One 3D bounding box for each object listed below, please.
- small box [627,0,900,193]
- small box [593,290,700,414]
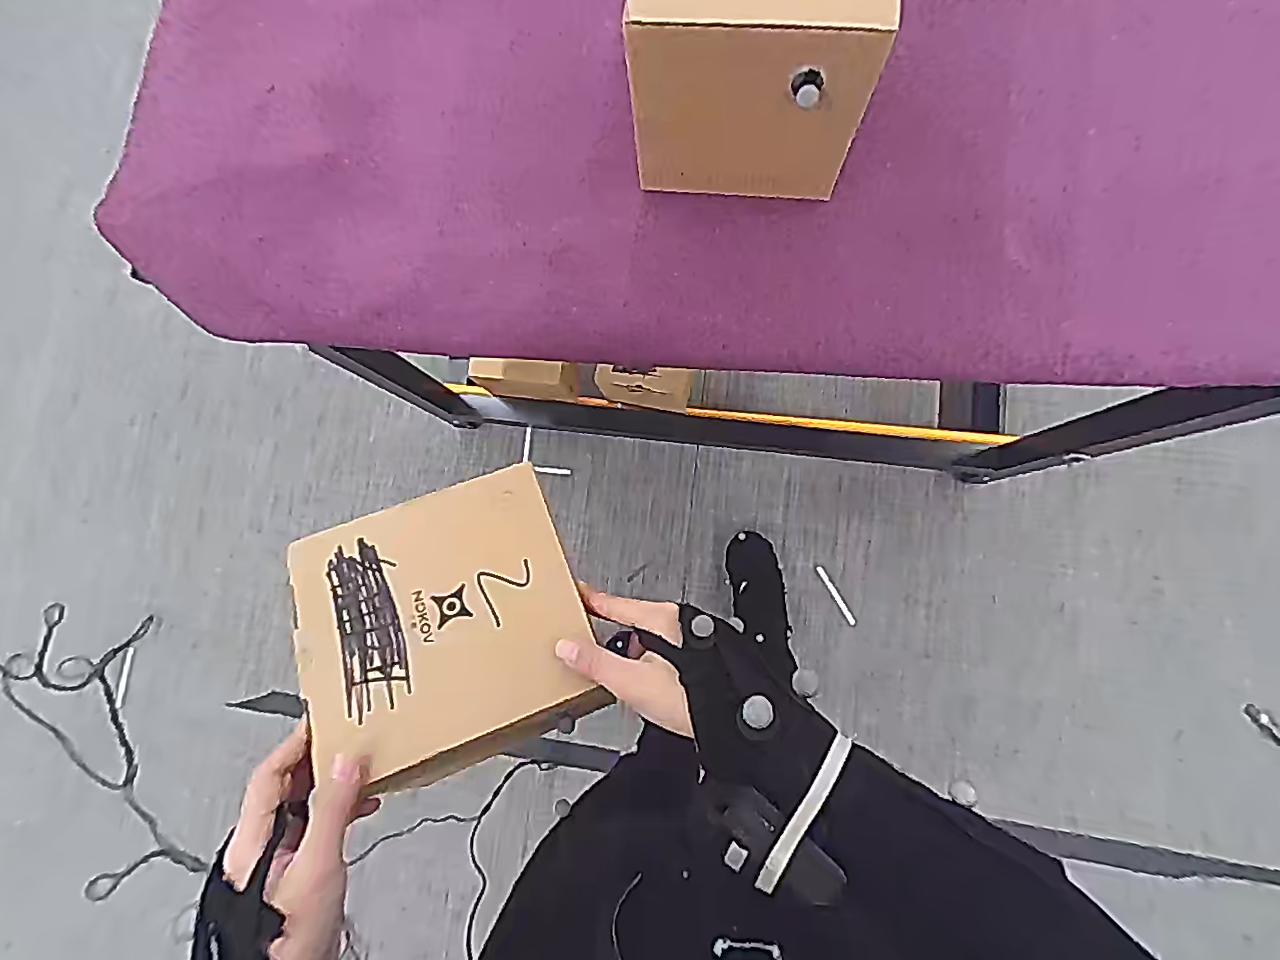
[{"bbox_3d":[0.092,-0.361,0.437,0.179,0.176,0.168,6,82,5],"label":"small box"},{"bbox_3d":[0.018,-0.239,1.054,0.168,0.176,0.179,12,84,5],"label":"small box"}]
